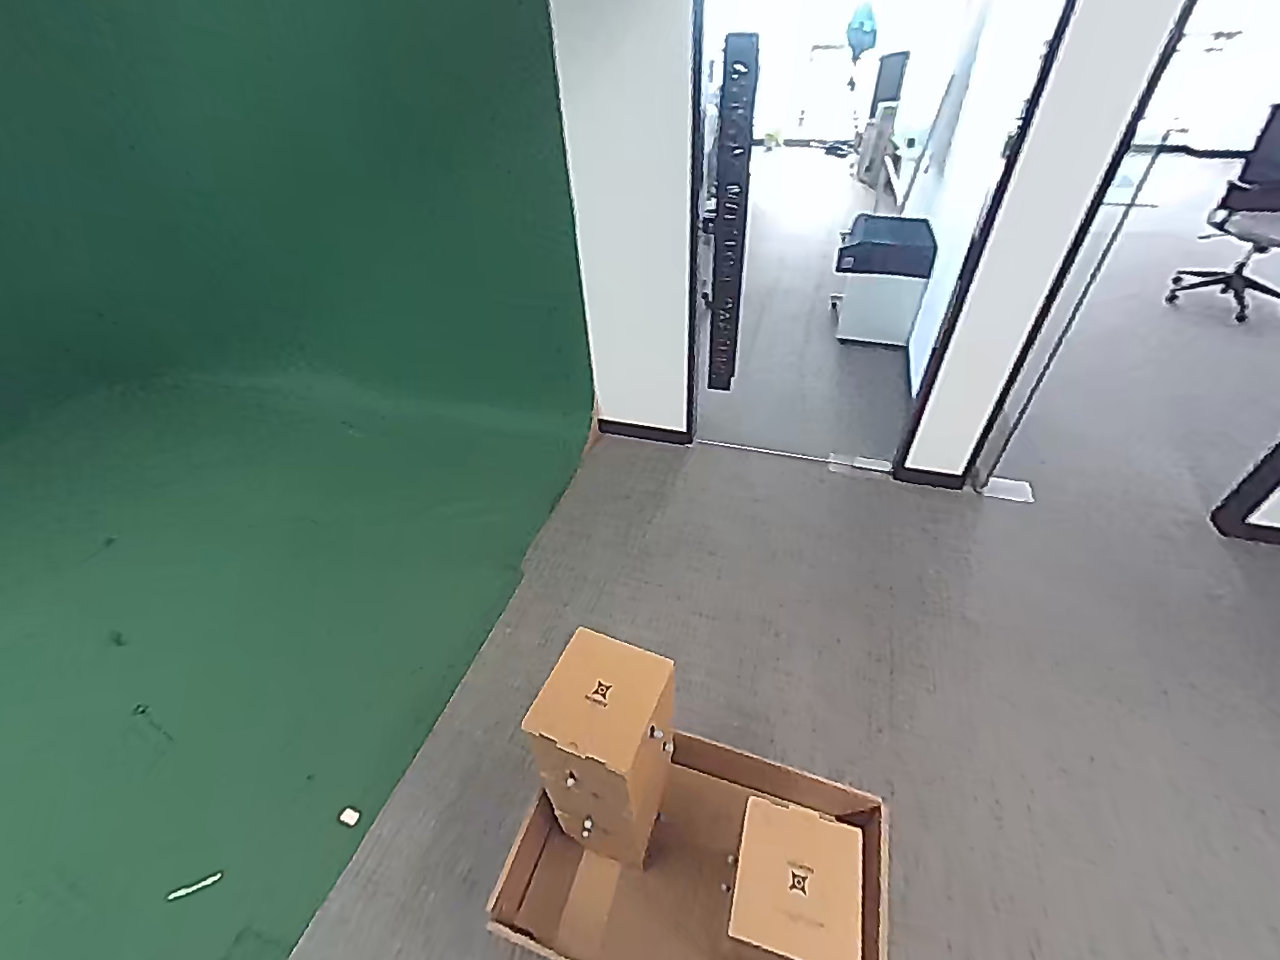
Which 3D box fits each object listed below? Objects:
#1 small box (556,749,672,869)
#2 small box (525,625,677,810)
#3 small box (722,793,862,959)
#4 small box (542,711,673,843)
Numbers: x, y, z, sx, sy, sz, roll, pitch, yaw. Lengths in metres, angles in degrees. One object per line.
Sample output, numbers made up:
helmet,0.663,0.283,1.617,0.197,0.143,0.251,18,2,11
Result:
small box,-0.045,0.607,1.049,0.168,0.176,0.179,13,44,17
small box,-0.051,0.364,0.833,0.168,0.176,0.179,15,46,19
small box,0.218,0.603,0.791,0.168,0.176,0.179,10,43,15
small box,-0.048,0.484,0.941,0.168,0.176,0.179,14,44,19
